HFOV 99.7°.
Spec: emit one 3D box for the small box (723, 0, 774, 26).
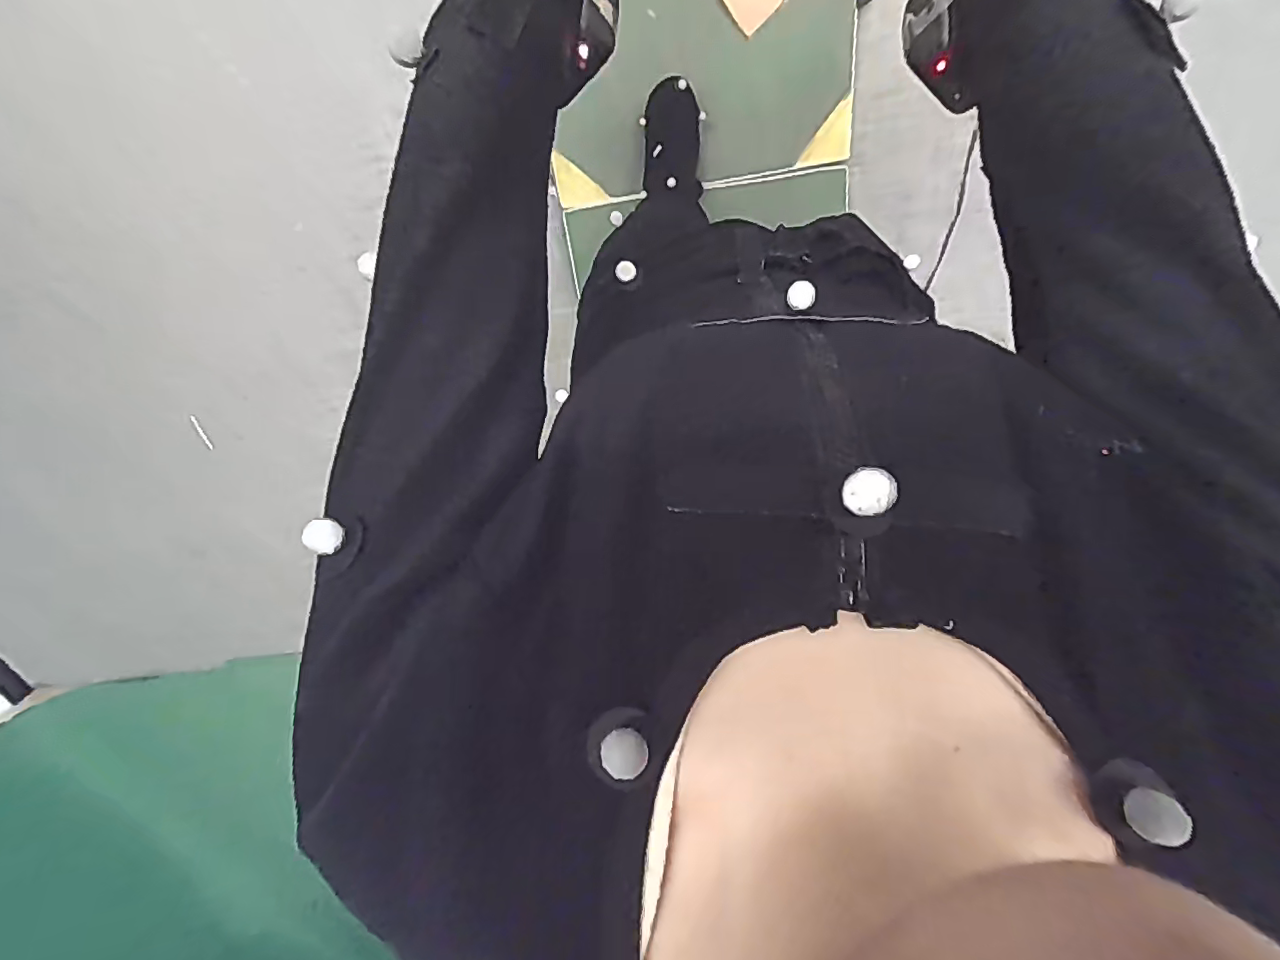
[{"bbox_3d":[0.082,-0.478,0.375,0.168,0.176,0.179,-32,126,30],"label":"small box"}]
